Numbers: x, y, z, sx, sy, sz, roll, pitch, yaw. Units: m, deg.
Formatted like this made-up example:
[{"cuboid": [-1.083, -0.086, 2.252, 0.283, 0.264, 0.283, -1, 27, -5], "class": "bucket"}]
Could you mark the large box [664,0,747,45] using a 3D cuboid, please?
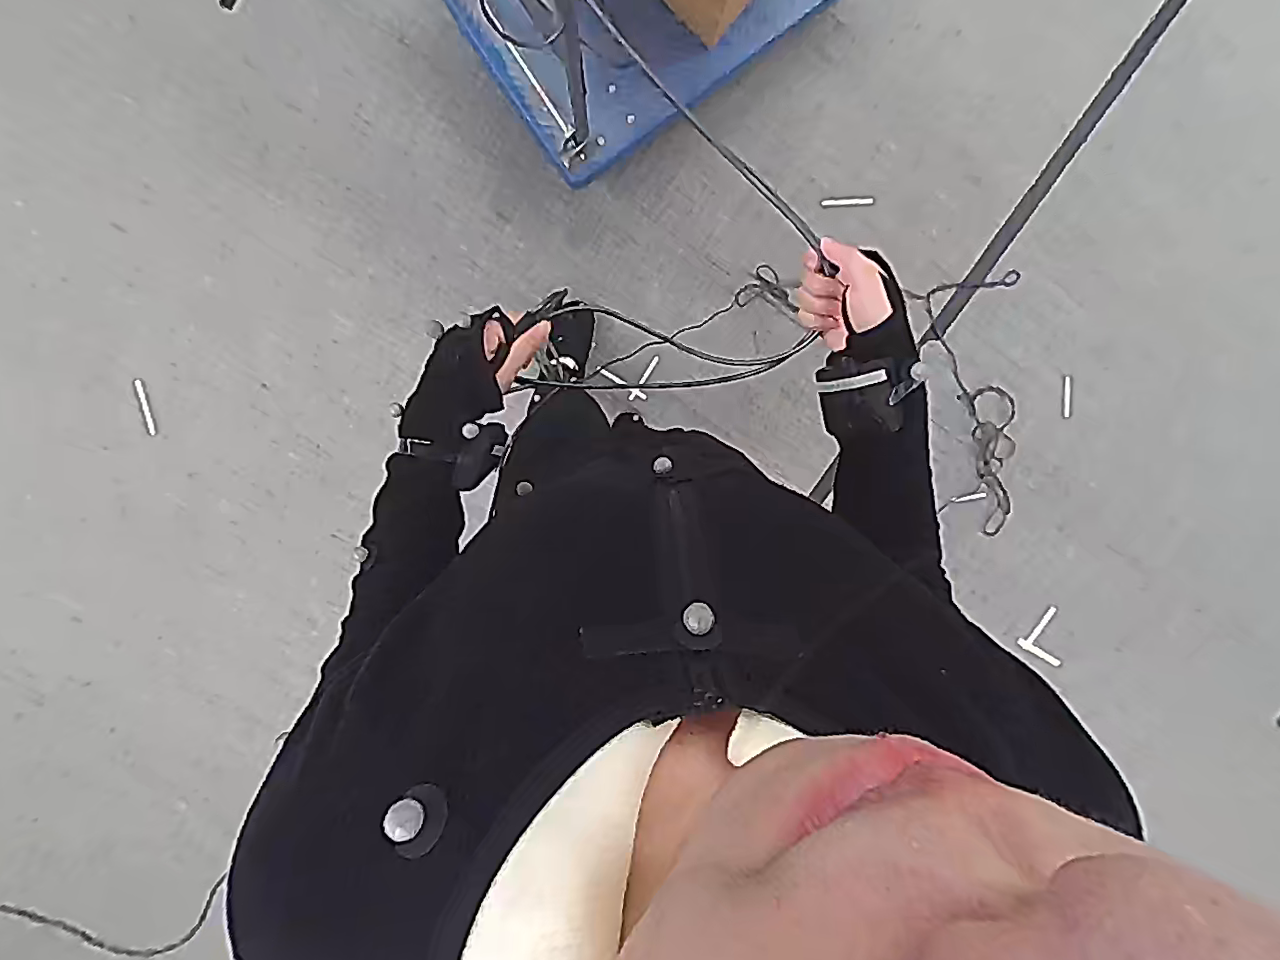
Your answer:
[{"cuboid": [0.107, -1.128, 0.958, 0.408, 0.320, 0.320, 39, 96, -11], "class": "large box"}]
